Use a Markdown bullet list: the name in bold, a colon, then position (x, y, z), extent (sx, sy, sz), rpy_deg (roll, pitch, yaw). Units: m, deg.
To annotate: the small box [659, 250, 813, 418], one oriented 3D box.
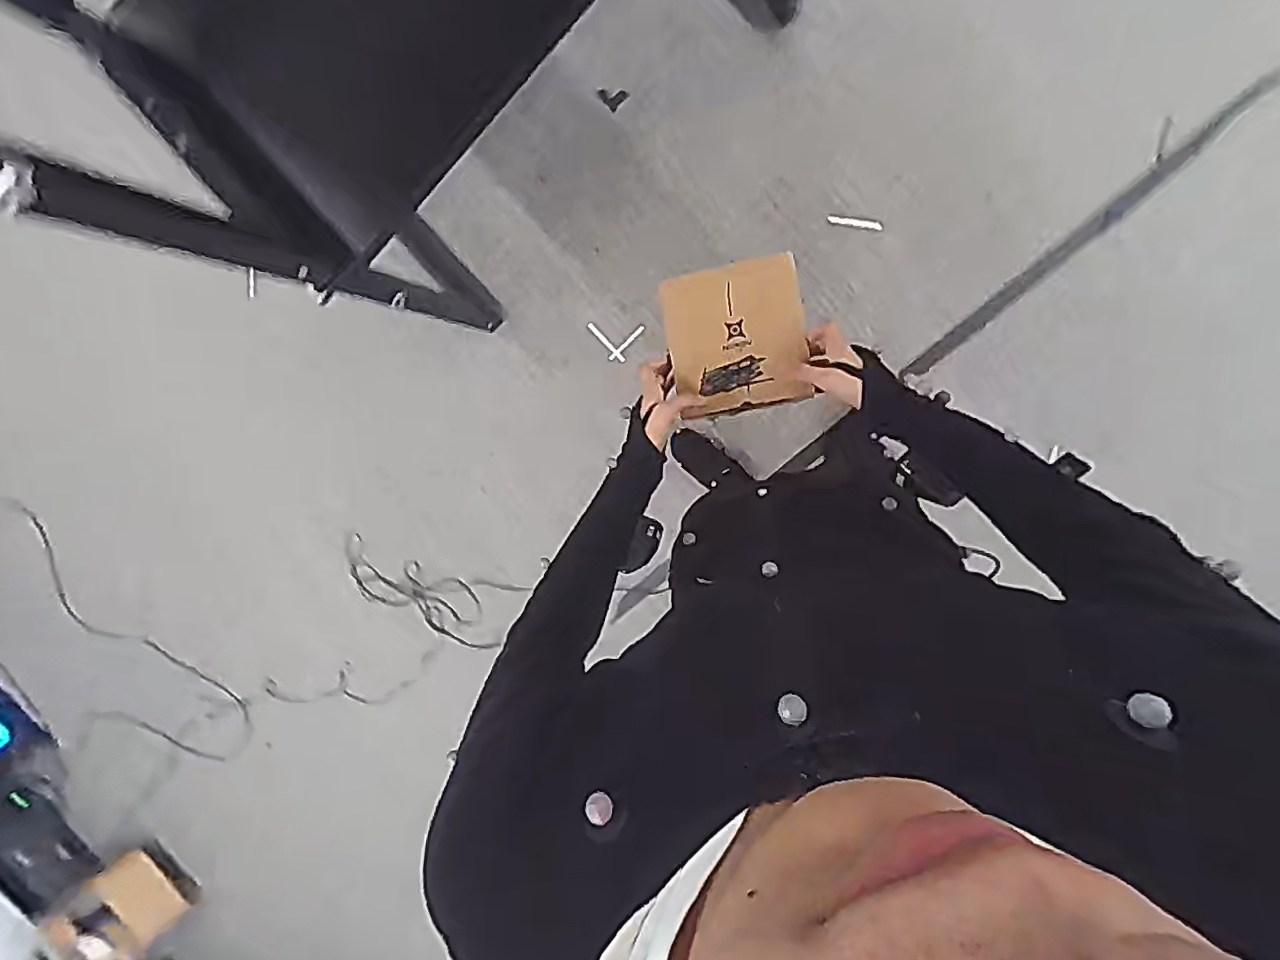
- **small box**: position (0.128, -0.181, 0.727), extent (0.168, 0.176, 0.179), rpy_deg (-9, 94, 10)
